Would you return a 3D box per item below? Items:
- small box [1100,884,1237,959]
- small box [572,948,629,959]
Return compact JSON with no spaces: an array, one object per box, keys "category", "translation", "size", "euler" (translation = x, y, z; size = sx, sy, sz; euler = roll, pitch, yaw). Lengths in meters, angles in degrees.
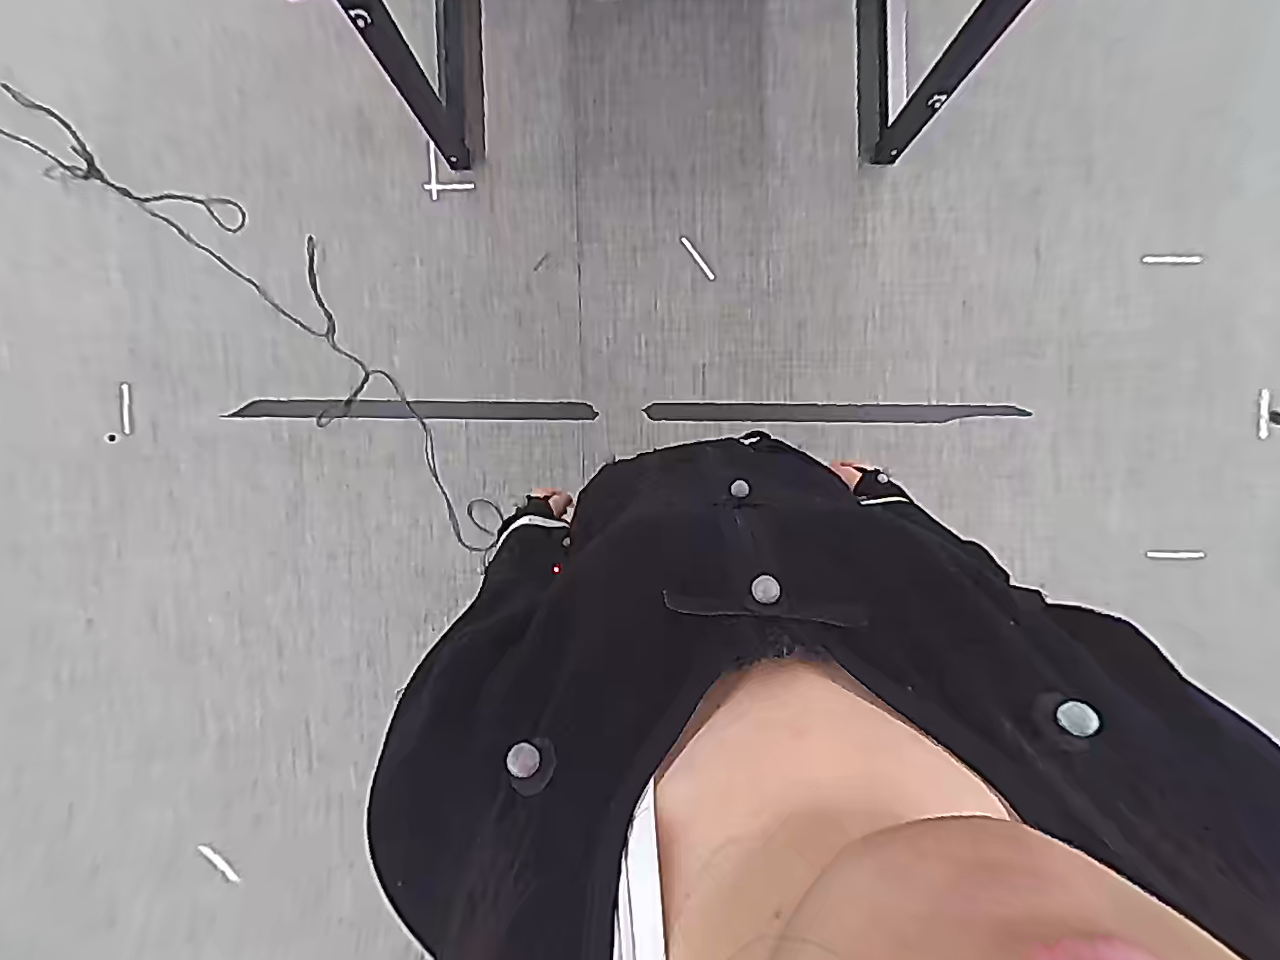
[{"category":"small box","translation":[1.265,1.129,1.307],"size":[0.168,0.176,0.179],"euler":[4,92,0]},{"category":"small box","translation":[-0.111,1.449,1.502],"size":[0.168,0.176,0.179],"euler":[-5,94,2]}]
